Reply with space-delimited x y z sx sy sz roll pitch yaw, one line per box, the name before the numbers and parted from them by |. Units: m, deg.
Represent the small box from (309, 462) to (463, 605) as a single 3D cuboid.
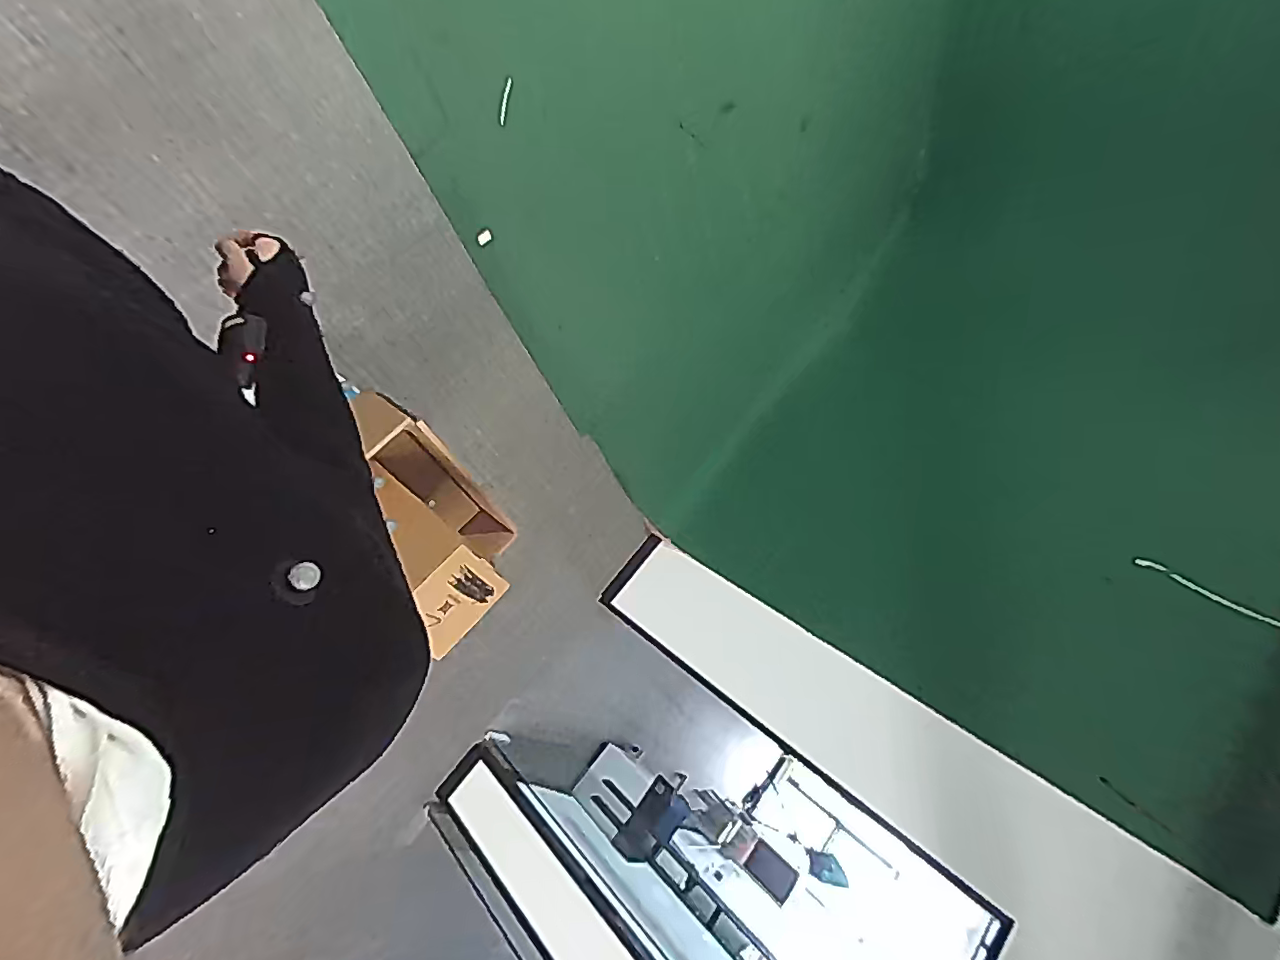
small box | -0.482 0.096 1.027 0.179 0.176 0.168 -46 143 -15
